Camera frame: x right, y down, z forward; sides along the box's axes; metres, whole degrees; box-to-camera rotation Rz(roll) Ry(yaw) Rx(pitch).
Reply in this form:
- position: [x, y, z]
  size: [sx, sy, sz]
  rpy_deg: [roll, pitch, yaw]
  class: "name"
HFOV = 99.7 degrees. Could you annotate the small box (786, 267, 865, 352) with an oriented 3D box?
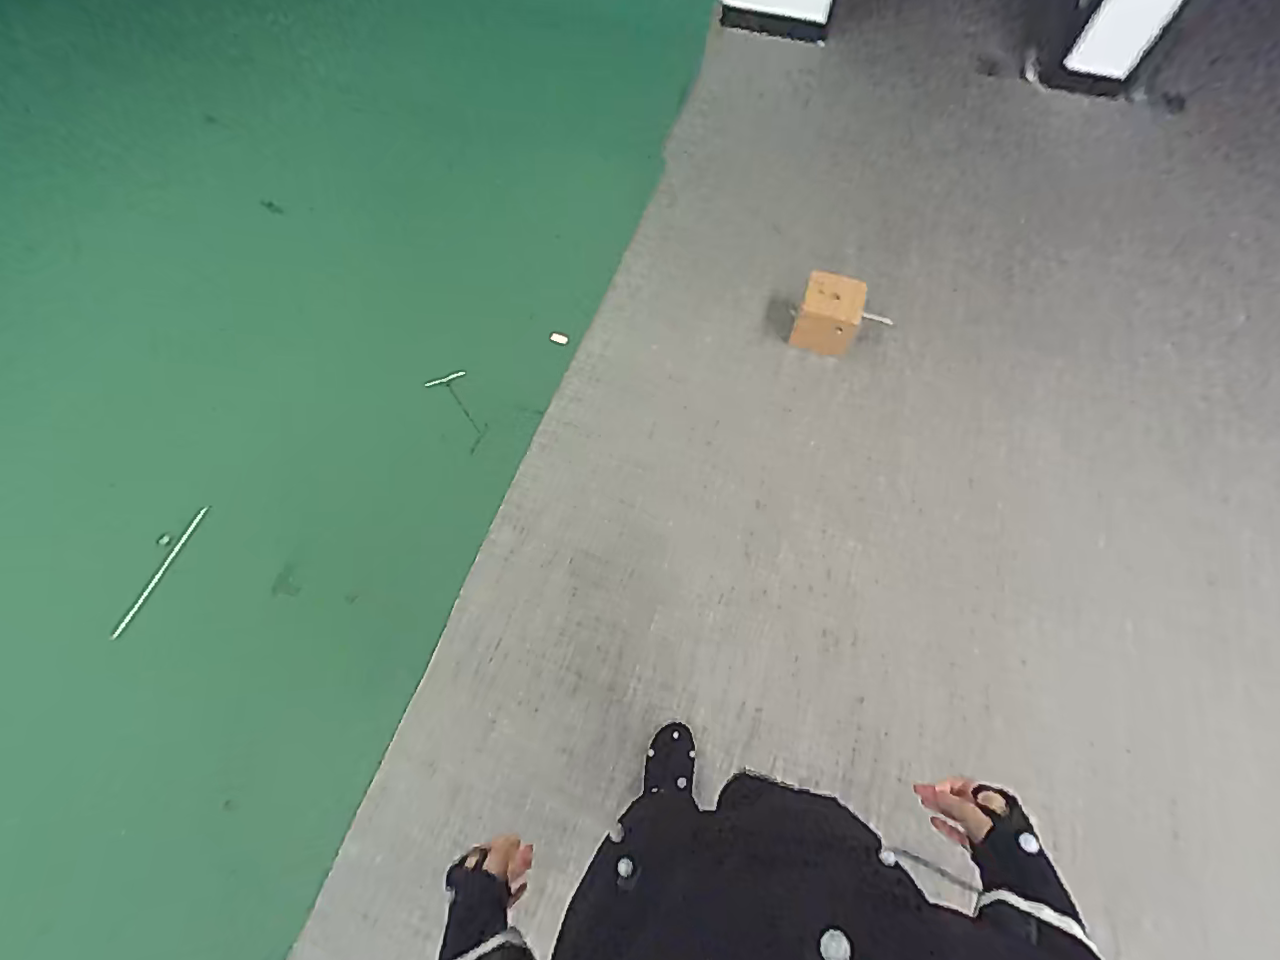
- position: [0.573, -0.525, 1.685]
  size: [0.179, 0.176, 0.168]
  rpy_deg: [16, 68, 8]
  class: "small box"
